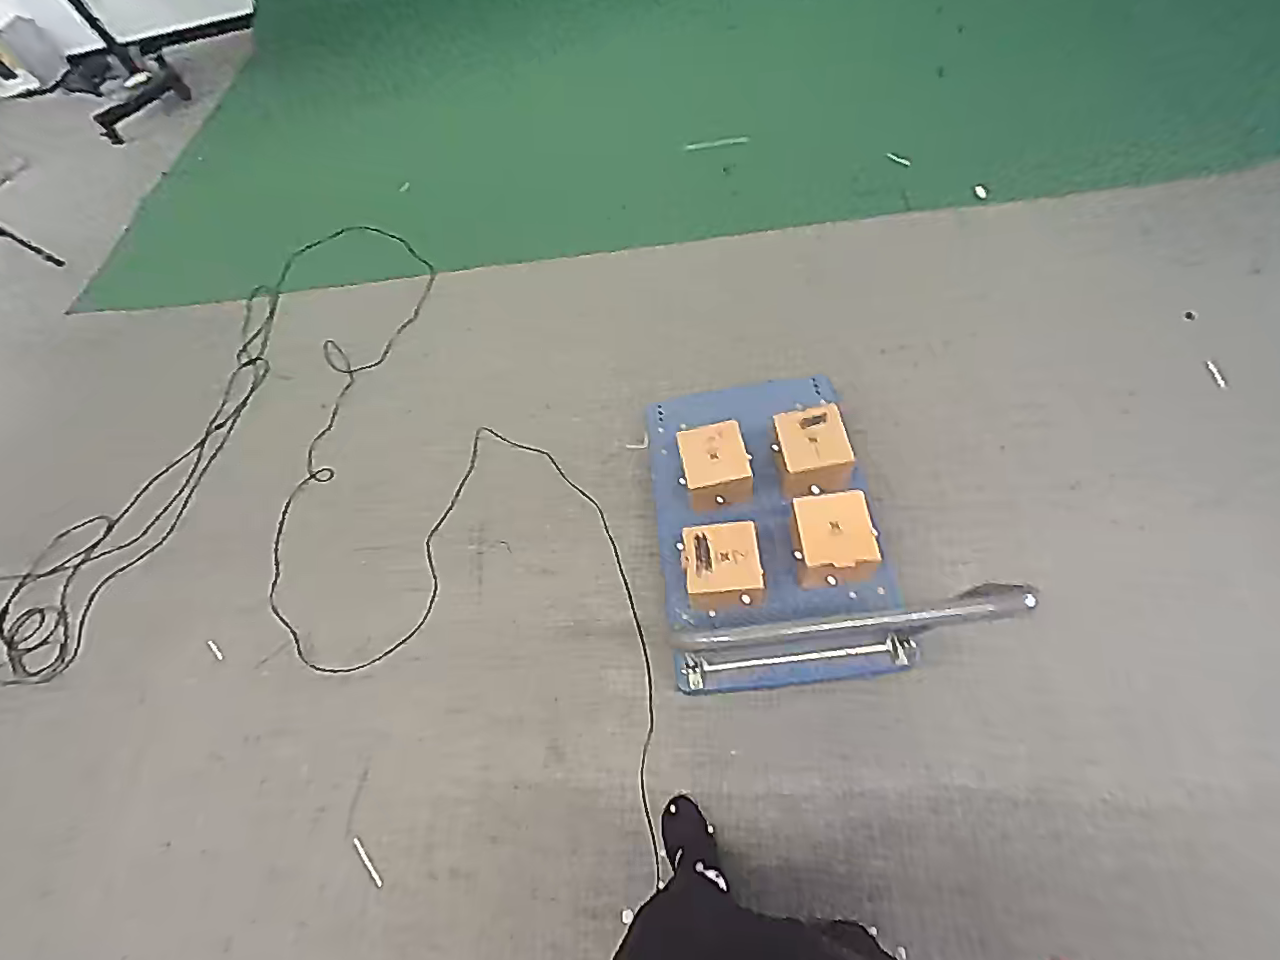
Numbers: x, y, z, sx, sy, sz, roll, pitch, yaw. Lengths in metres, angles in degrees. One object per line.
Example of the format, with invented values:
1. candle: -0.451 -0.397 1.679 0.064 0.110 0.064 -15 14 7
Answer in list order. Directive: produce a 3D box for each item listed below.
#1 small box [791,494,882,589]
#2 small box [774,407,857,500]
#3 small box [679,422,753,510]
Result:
1. small box: 0.472 0.155 1.330 0.168 0.176 0.179 -7 61 7
2. small box: 0.459 -0.067 1.443 0.168 0.176 0.179 -10 62 6
3. small box: 0.207 -0.029 1.470 0.168 0.176 0.179 -11 62 4
